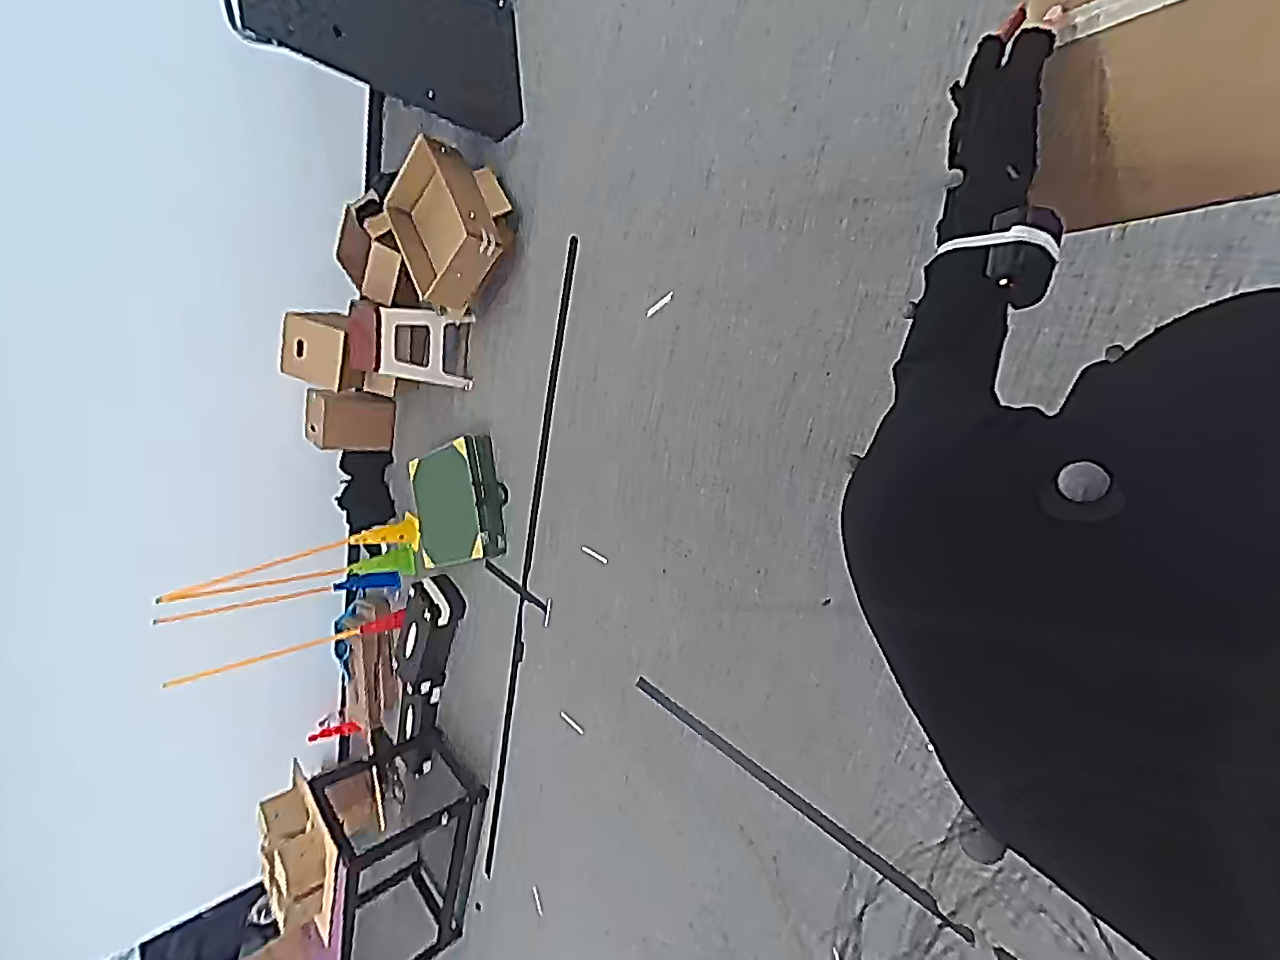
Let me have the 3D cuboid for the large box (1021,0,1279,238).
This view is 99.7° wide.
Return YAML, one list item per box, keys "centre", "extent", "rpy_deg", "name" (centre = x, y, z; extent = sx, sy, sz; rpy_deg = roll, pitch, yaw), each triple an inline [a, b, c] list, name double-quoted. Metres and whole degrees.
- centre: [0.569, -0.415, 0.424]
  extent: [0.408, 0.320, 0.320]
  rpy_deg: [5, 117, 44]
  name: "large box"
